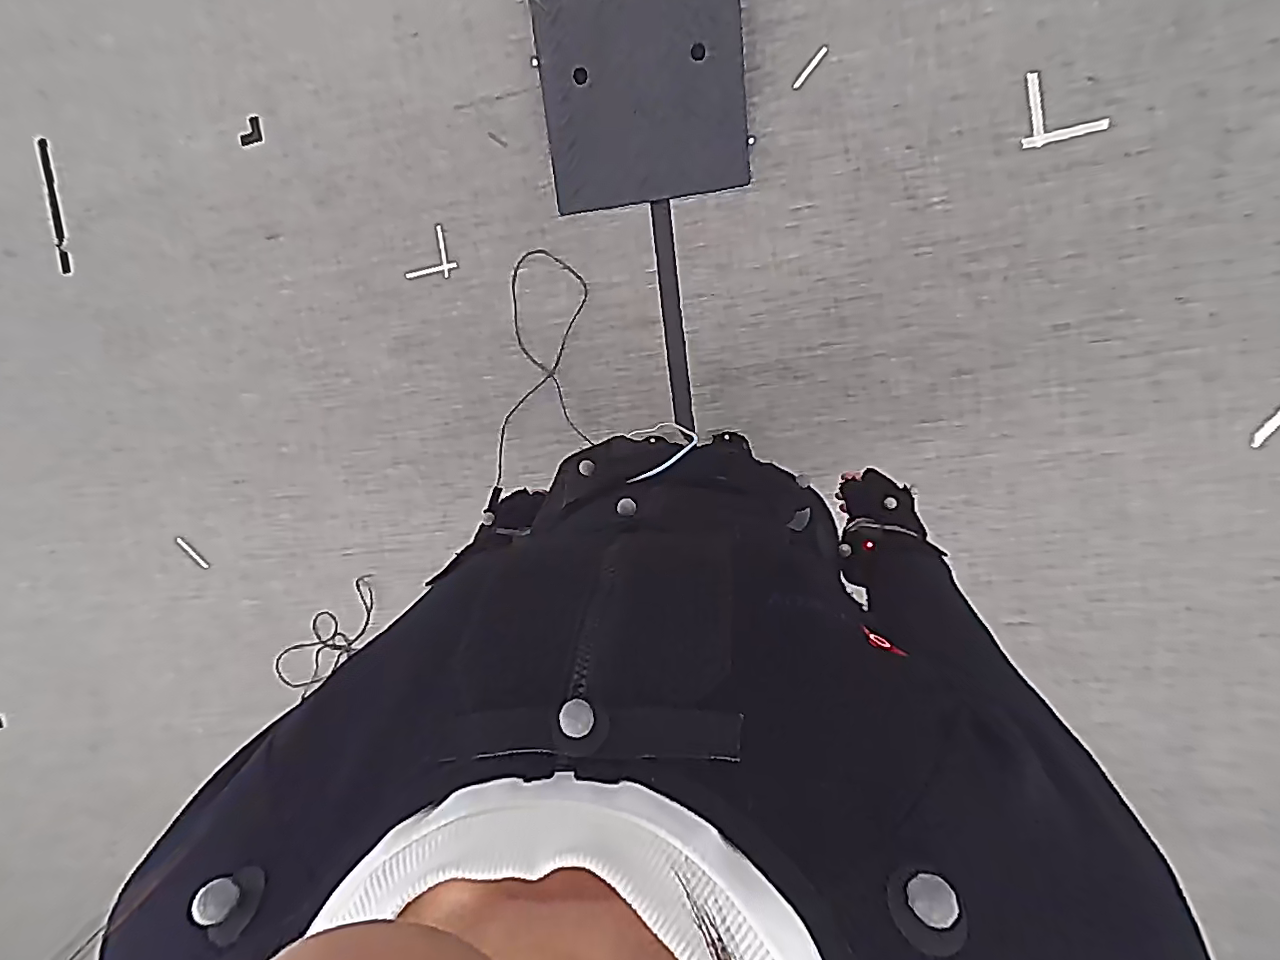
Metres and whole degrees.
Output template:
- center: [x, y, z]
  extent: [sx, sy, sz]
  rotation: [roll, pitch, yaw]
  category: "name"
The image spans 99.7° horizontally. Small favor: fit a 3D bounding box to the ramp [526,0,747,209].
- center: [-0.032, -1.193, 1.225]
  extent: [0.509, 0.206, 0.991]
  rotation: [-6, 96, 9]
  category: "ramp"
